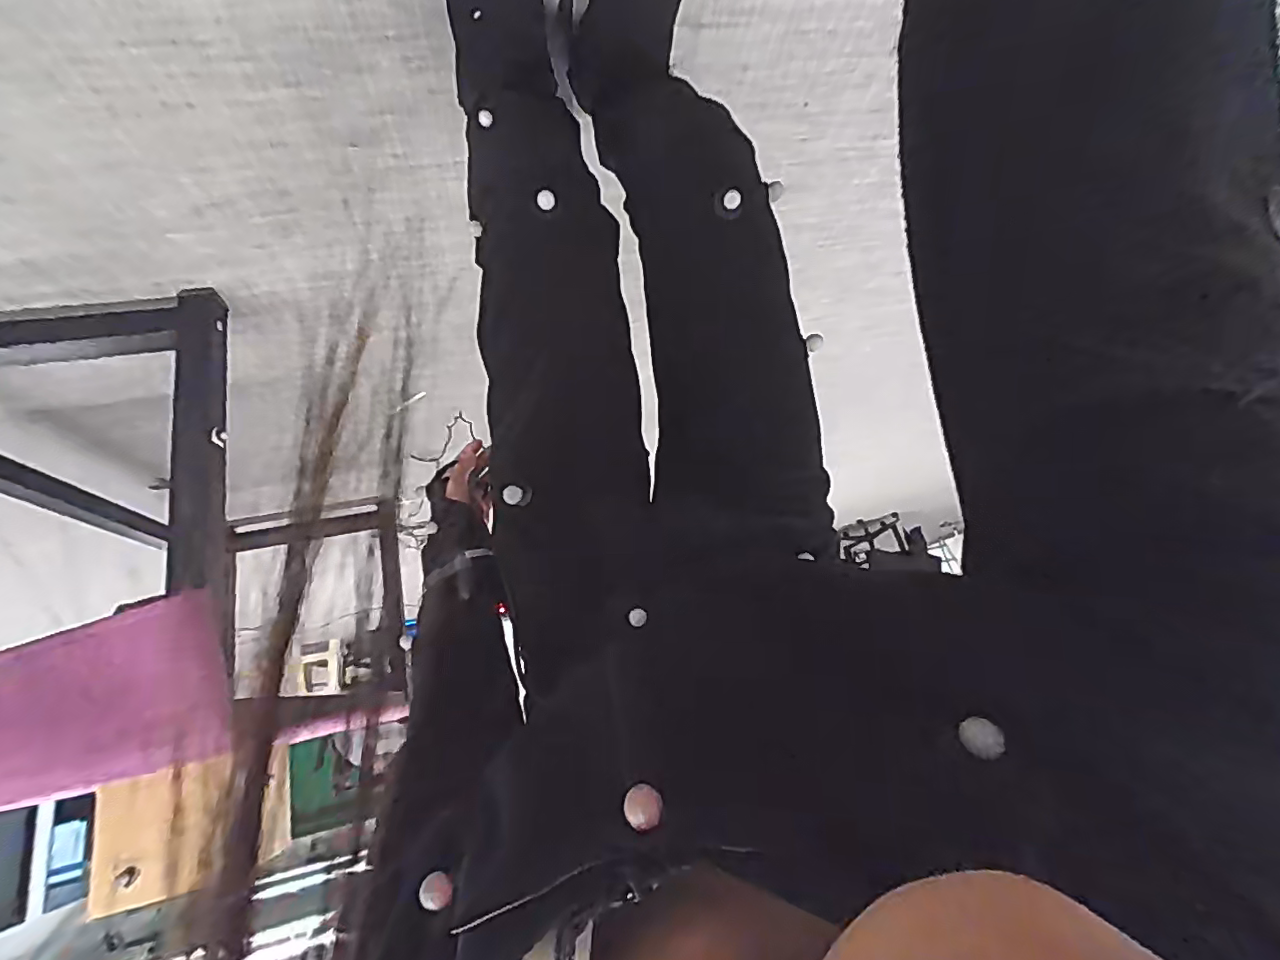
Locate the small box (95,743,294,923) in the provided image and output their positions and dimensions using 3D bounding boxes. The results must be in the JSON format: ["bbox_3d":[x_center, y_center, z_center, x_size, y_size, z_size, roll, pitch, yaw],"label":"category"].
[{"bbox_3d":[-0.650,0.511,0.813,0.179,0.176,0.168,-10,163,-11],"label":"small box"}]
